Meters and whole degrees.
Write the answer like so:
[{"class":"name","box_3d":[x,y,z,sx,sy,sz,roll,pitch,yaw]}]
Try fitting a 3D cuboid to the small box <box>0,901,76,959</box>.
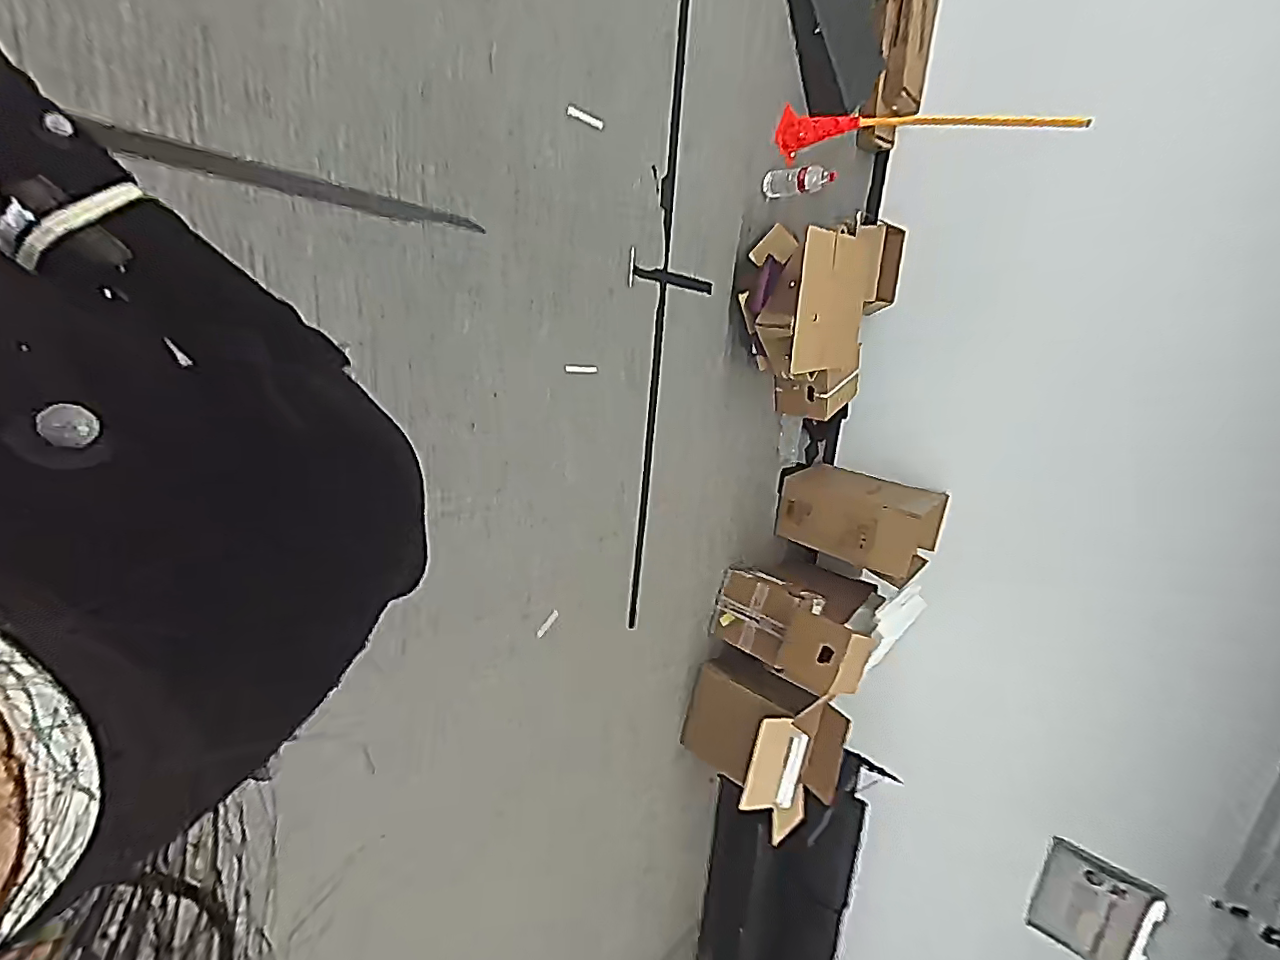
[{"class":"small box","box_3d":[-1.305,1.048,1.126,0.179,0.176,0.168,-5,106,-49]}]
